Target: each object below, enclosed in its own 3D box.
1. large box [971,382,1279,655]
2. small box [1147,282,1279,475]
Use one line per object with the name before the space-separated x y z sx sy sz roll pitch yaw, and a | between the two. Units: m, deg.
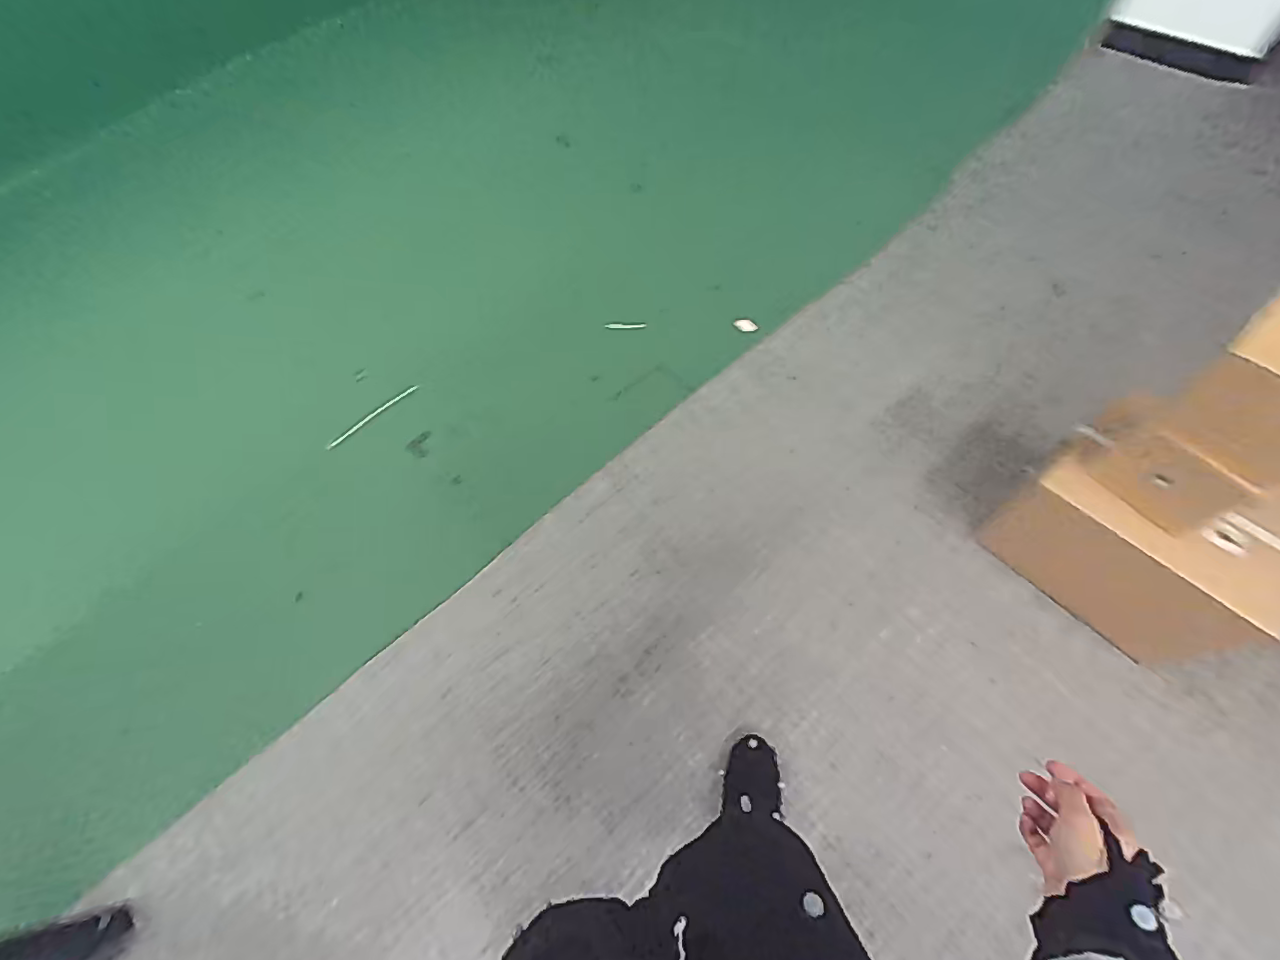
large box | 1.000 0.085 1.100 0.320 0.320 0.408 -42 67 -11
small box | 0.896 -0.137 0.767 0.168 0.176 0.179 -40 66 -12
